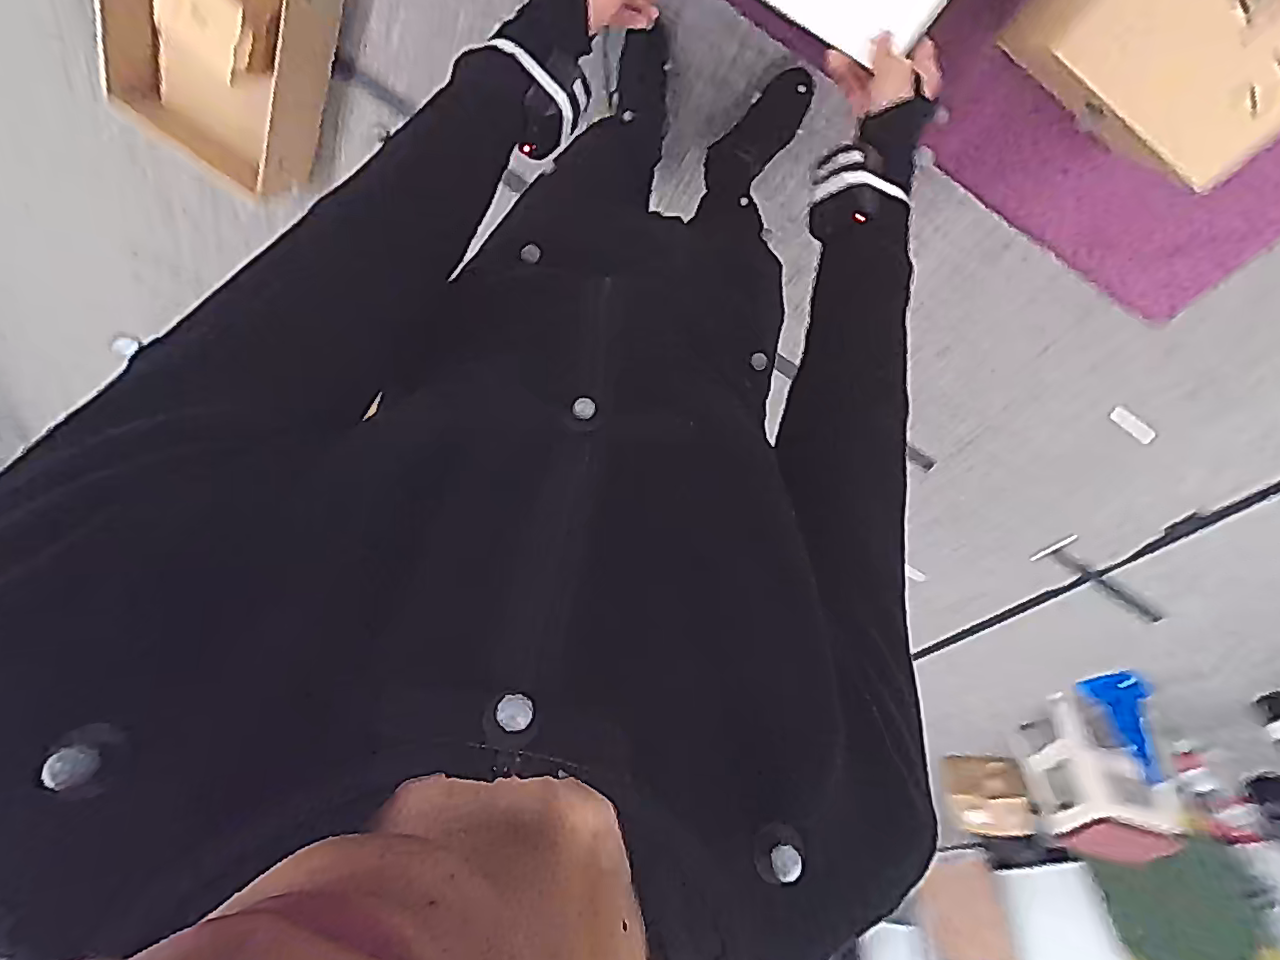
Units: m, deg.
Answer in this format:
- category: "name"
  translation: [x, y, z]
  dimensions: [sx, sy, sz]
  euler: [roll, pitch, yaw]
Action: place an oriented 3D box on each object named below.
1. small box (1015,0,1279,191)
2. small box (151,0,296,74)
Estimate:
- category: "small box"
  translation: [0.436, -0.366, 0.416]
  dimensions: [0.179, 0.176, 0.168]
  euler: [32, 132, -12]
- category: "small box"
  translation: [-0.895, -1.036, 1.173]
  dimensions: [0.179, 0.176, 0.168]
  euler: [41, 130, -20]
